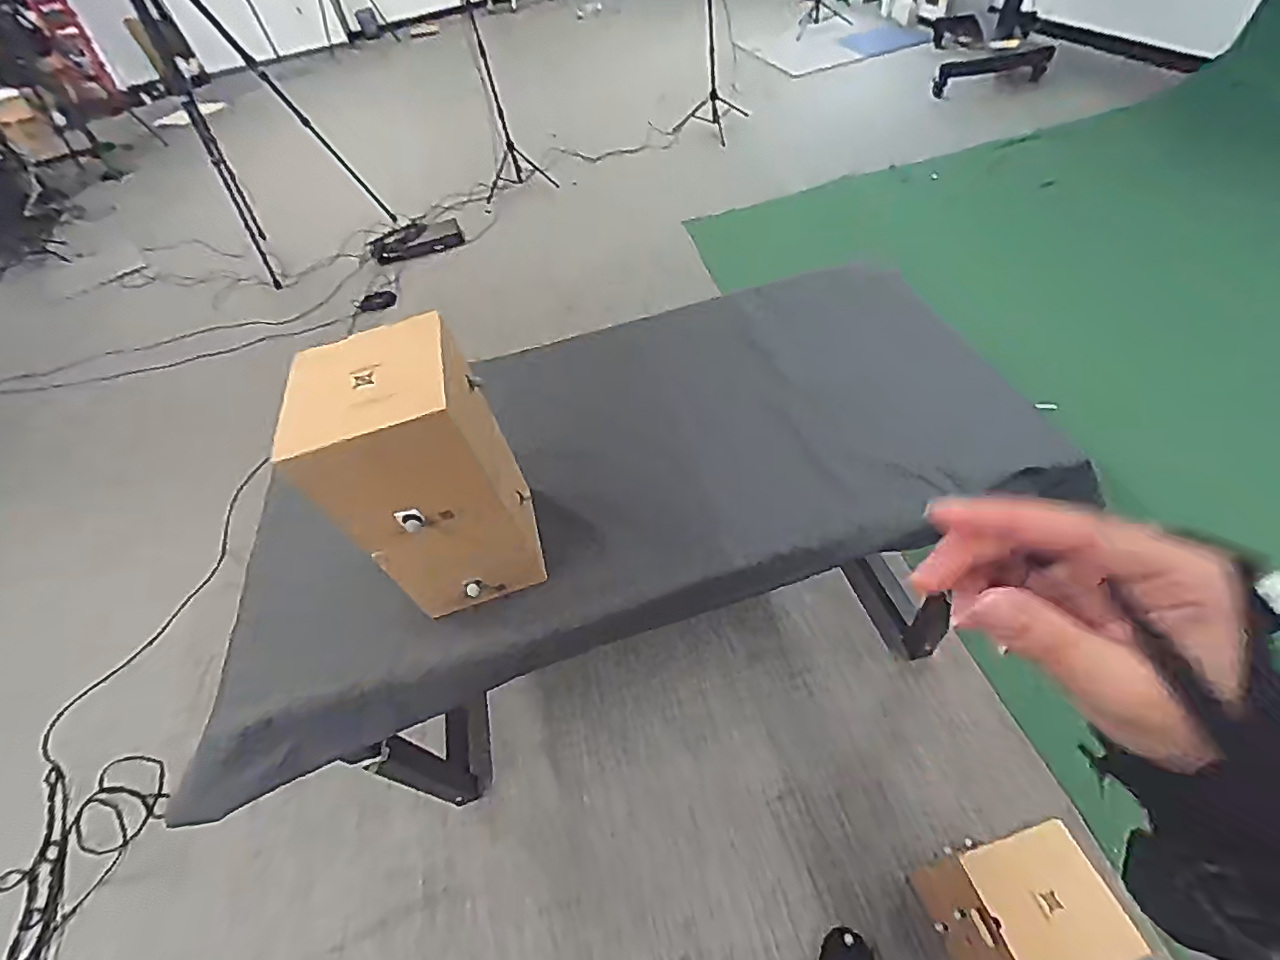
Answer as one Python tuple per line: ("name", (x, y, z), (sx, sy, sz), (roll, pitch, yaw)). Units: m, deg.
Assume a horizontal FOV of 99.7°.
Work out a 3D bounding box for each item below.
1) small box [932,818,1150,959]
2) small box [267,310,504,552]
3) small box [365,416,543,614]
("small box", (0.587, 0.641, 0.822), (0.179, 0.176, 0.168), (-18, 51, -4))
("small box", (-0.264, -0.052, 0.598), (0.168, 0.176, 0.179), (-19, 51, -4))
("small box", (-0.241, 0.049, 0.723), (0.168, 0.176, 0.179), (-18, 51, -4))
